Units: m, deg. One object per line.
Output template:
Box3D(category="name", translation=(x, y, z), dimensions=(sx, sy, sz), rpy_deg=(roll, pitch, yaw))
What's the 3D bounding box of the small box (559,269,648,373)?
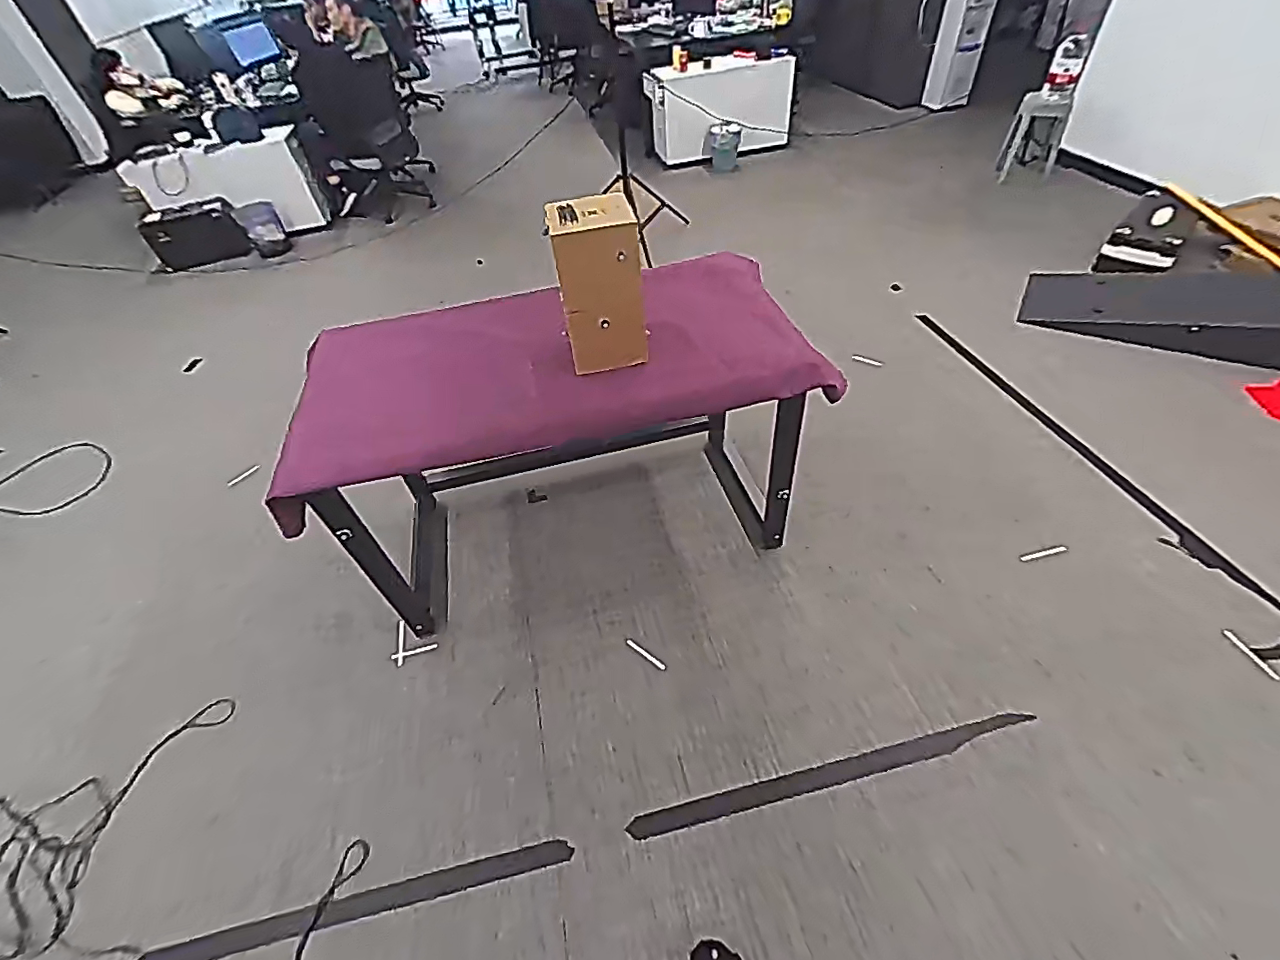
Box3D(category="small box", translation=(-0.086, -0.373, 1.281), dimensions=(0.179, 0.176, 0.168), rpy_deg=(-12, 48, -5))
